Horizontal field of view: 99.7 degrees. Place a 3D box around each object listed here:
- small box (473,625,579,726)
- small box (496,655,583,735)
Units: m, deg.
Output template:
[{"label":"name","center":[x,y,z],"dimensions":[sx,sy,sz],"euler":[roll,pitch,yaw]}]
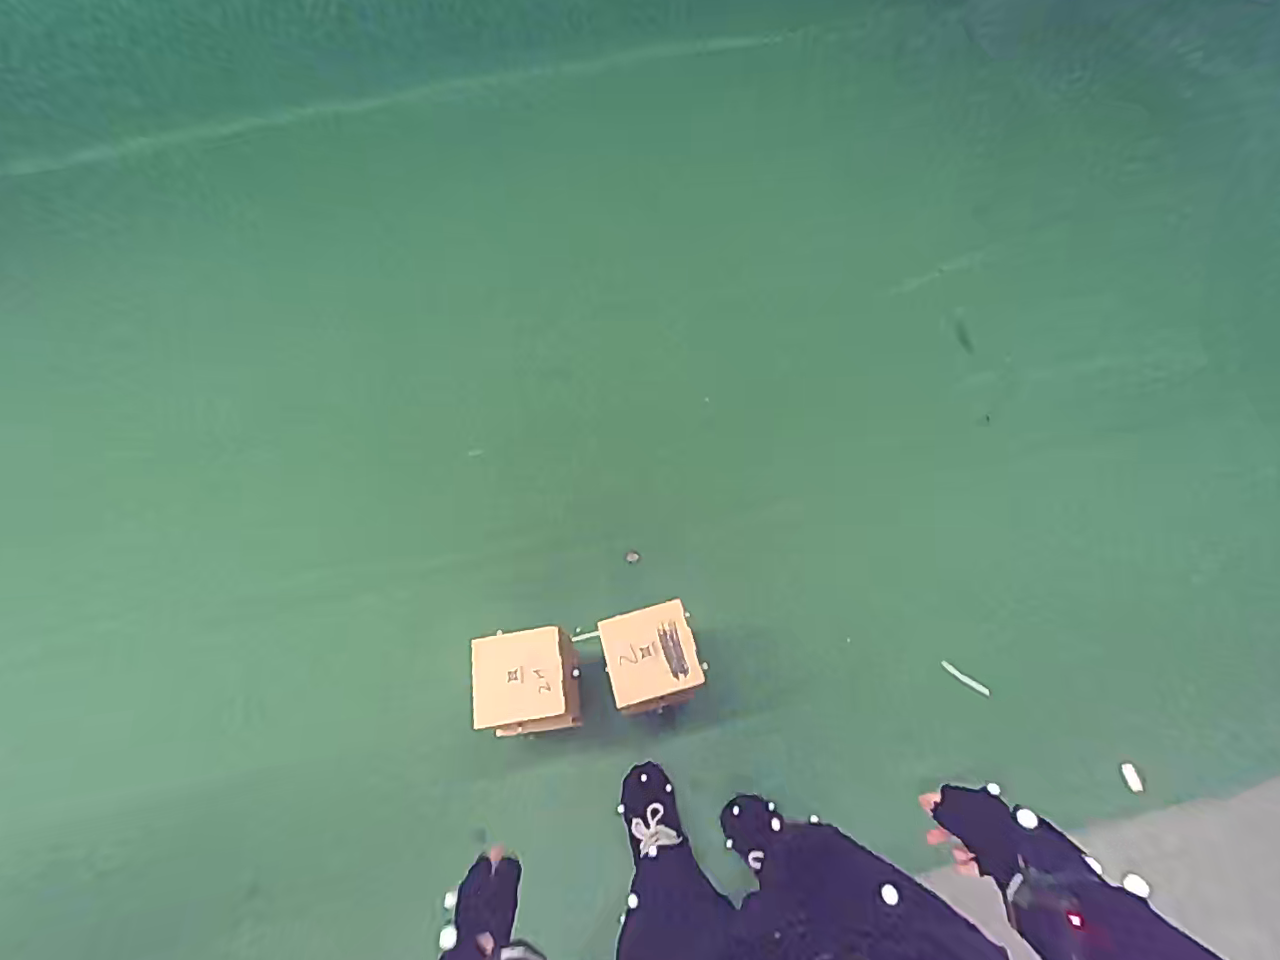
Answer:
[{"label":"small box","center":[-0.230,0.406,1.110],"dimensions":[0.179,0.176,0.168],"euler":[-9,65,0]},{"label":"small box","center":[-0.230,0.486,1.255],"dimensions":[0.168,0.176,0.179],"euler":[-8,64,-1]}]
